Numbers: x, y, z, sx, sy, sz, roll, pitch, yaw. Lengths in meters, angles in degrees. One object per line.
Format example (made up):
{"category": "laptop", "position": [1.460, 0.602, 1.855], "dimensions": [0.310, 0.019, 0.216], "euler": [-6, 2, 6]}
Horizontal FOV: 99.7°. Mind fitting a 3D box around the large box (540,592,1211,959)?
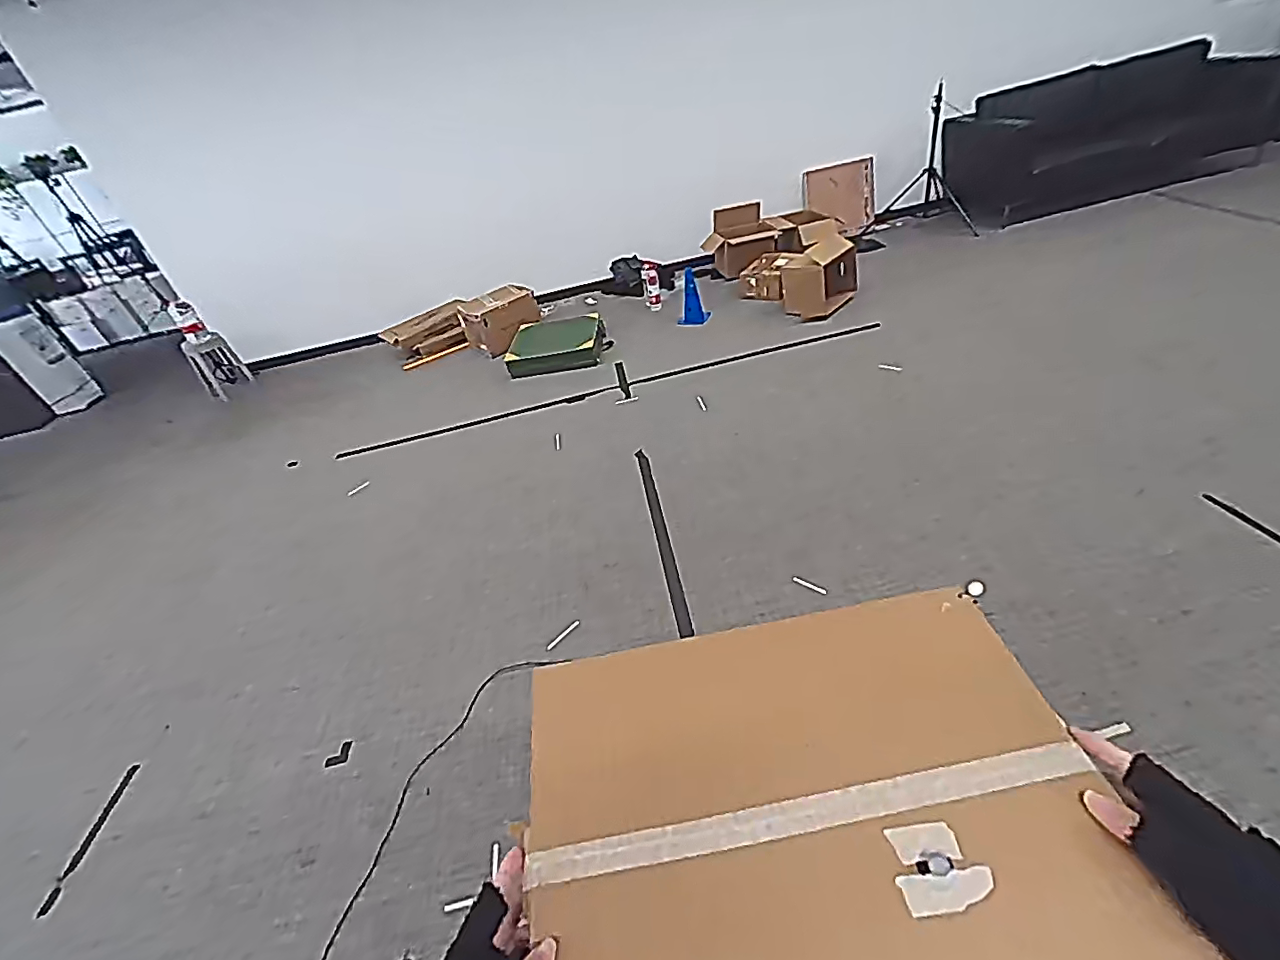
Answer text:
{"category": "large box", "position": [0.140, 0.354, 0.497], "dimensions": [0.408, 0.320, 0.320], "euler": [-11, 43, -1]}
